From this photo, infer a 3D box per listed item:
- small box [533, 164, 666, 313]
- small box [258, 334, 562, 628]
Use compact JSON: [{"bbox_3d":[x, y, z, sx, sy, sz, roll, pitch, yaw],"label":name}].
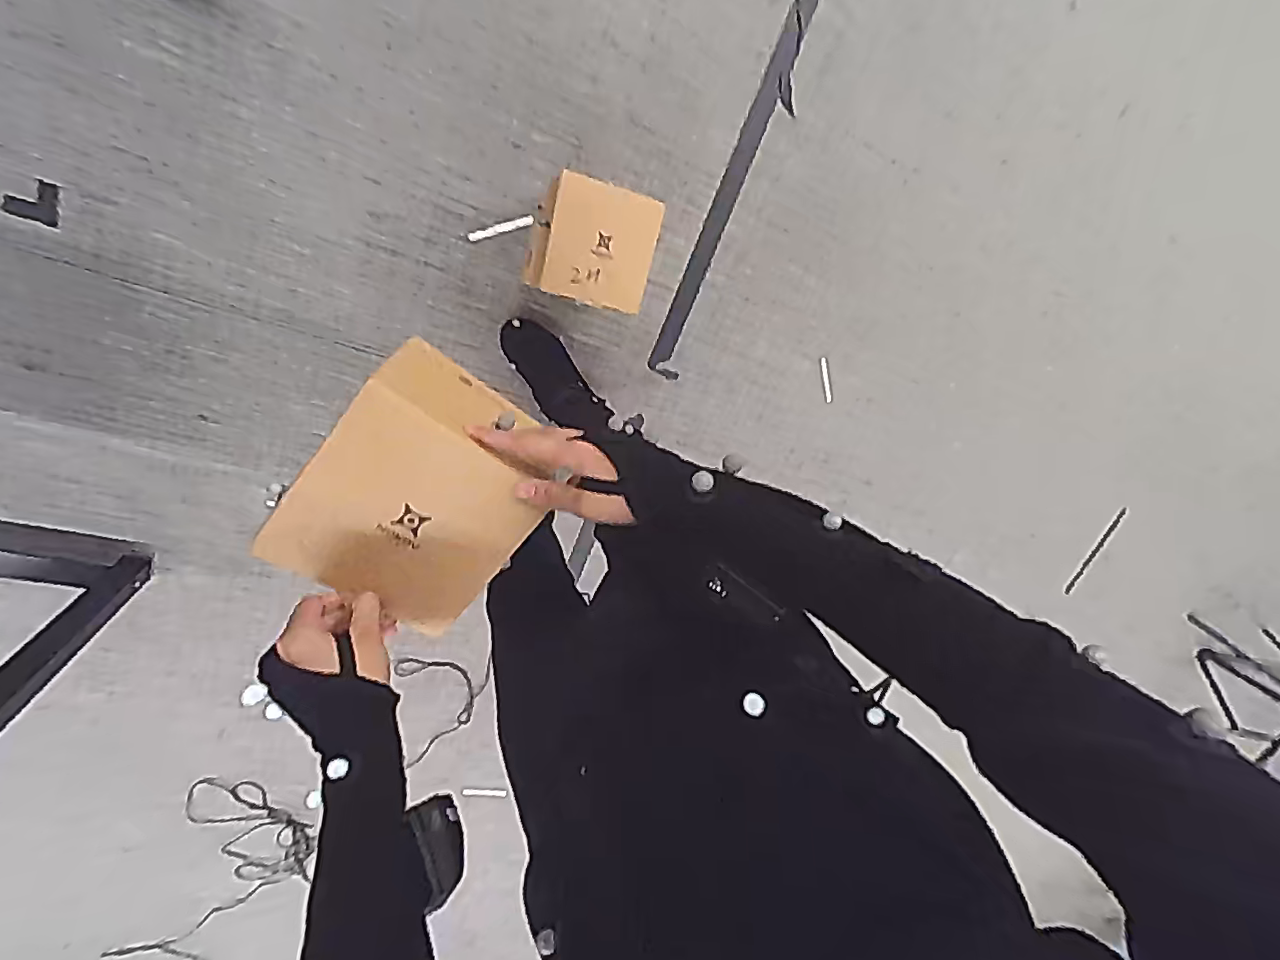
[{"bbox_3d":[-0.078,-0.397,0.900,0.168,0.176,0.179,9,112,-20],"label":"small box"},{"bbox_3d":[-0.193,-0.009,0.497,0.168,0.176,0.179,37,104,-24],"label":"small box"}]
